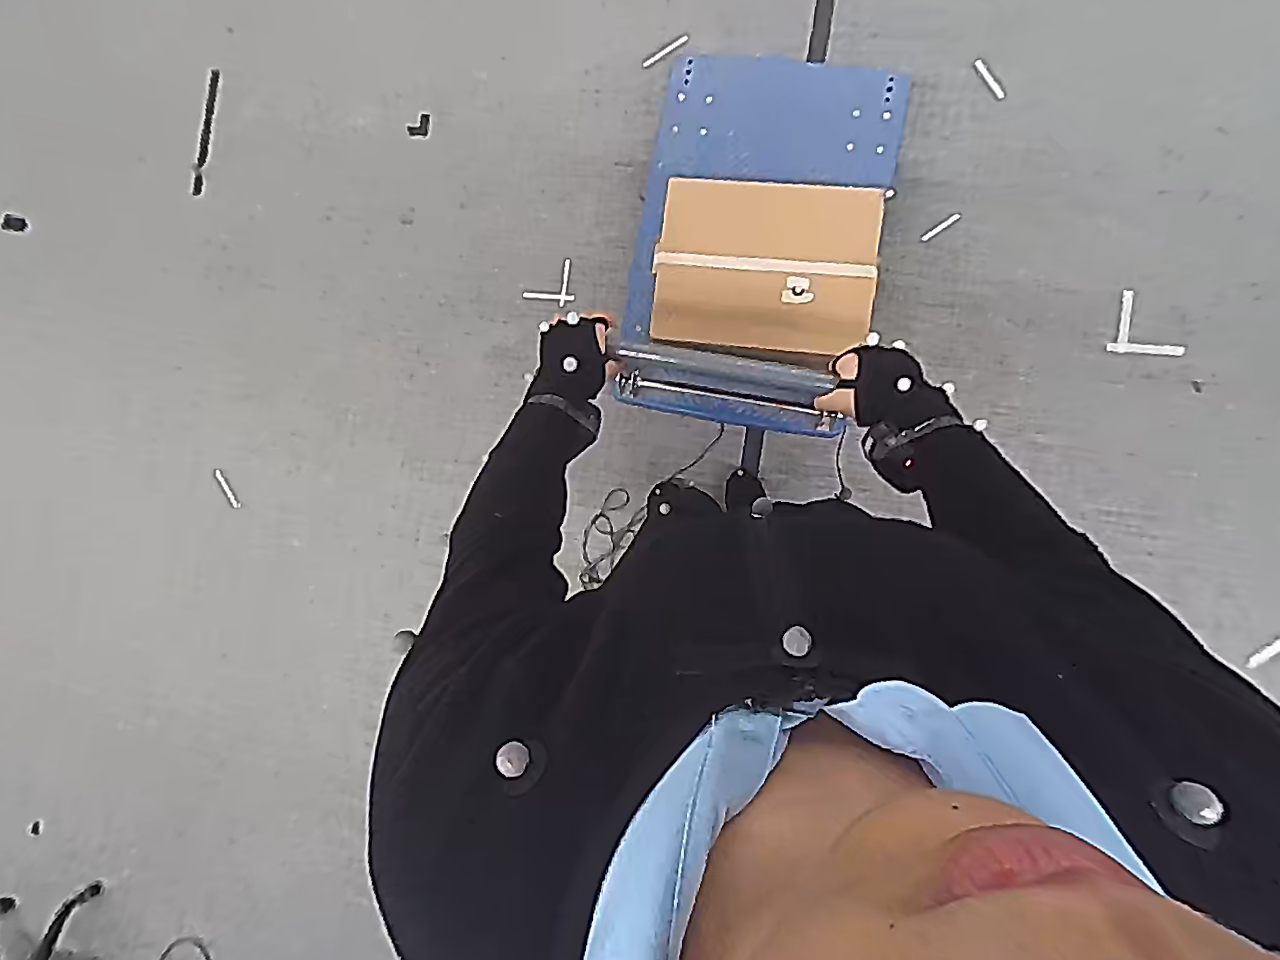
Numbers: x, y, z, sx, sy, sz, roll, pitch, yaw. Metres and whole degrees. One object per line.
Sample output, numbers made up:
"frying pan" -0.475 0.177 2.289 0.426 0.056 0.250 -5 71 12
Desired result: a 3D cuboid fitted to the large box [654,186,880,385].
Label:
"large box" 0.253 -0.401 1.179 0.408 0.320 0.320 7 91 7
